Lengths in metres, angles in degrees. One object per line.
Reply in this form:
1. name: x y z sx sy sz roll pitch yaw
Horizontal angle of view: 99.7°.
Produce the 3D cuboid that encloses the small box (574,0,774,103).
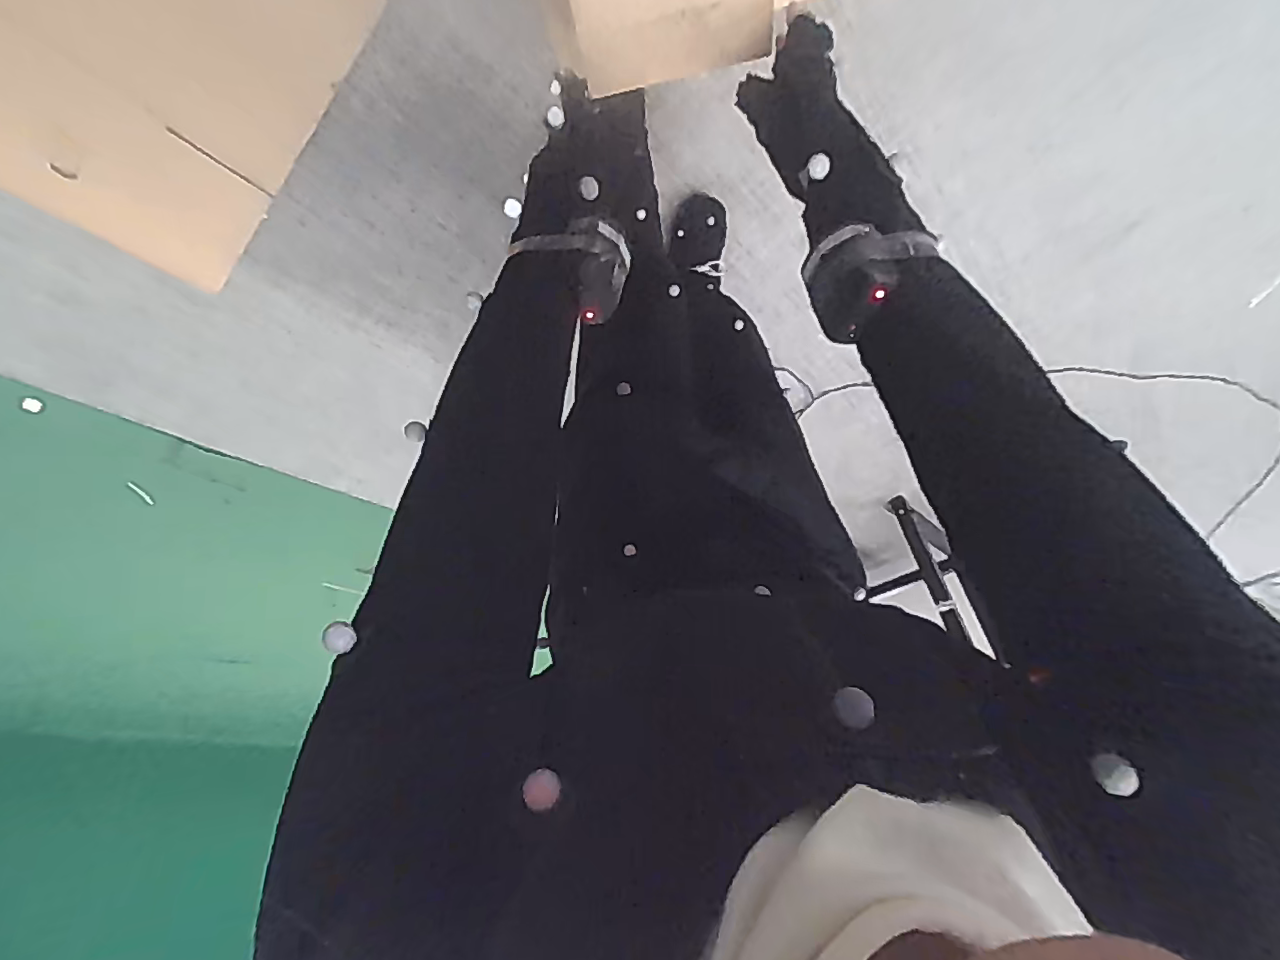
1. small box: 0.016 -0.473 0.464 0.168 0.176 0.179 -10 146 6
